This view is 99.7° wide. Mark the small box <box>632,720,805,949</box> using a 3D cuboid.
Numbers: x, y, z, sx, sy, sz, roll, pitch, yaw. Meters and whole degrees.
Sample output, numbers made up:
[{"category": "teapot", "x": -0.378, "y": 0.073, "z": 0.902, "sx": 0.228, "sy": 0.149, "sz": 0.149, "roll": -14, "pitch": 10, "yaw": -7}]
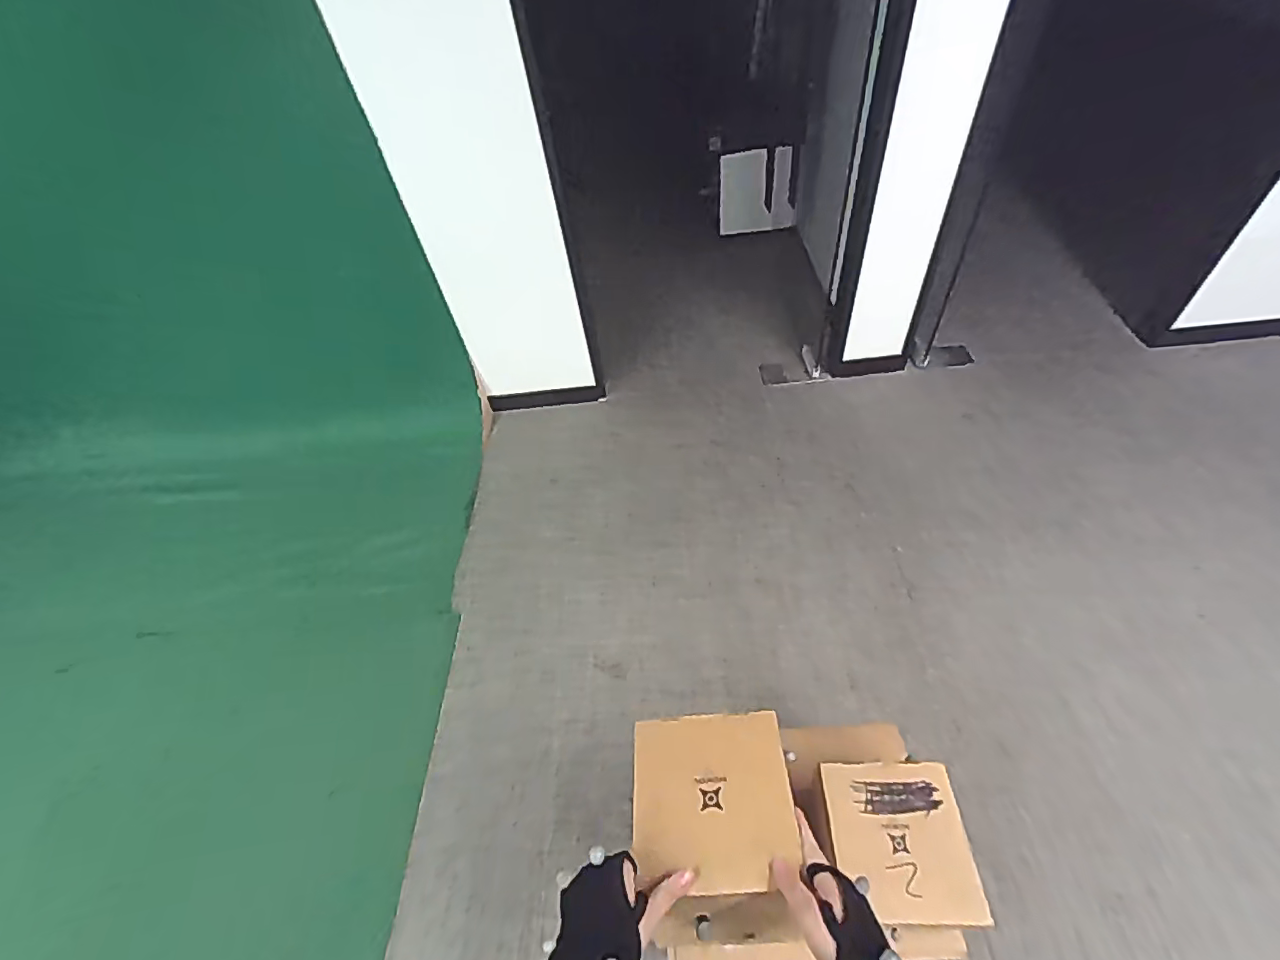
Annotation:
[{"category": "small box", "x": 0.089, "y": 0.404, "z": 0.615, "sx": 0.168, "sy": 0.176, "sz": 0.179, "roll": -8, "pitch": 35, "yaw": 7}]
